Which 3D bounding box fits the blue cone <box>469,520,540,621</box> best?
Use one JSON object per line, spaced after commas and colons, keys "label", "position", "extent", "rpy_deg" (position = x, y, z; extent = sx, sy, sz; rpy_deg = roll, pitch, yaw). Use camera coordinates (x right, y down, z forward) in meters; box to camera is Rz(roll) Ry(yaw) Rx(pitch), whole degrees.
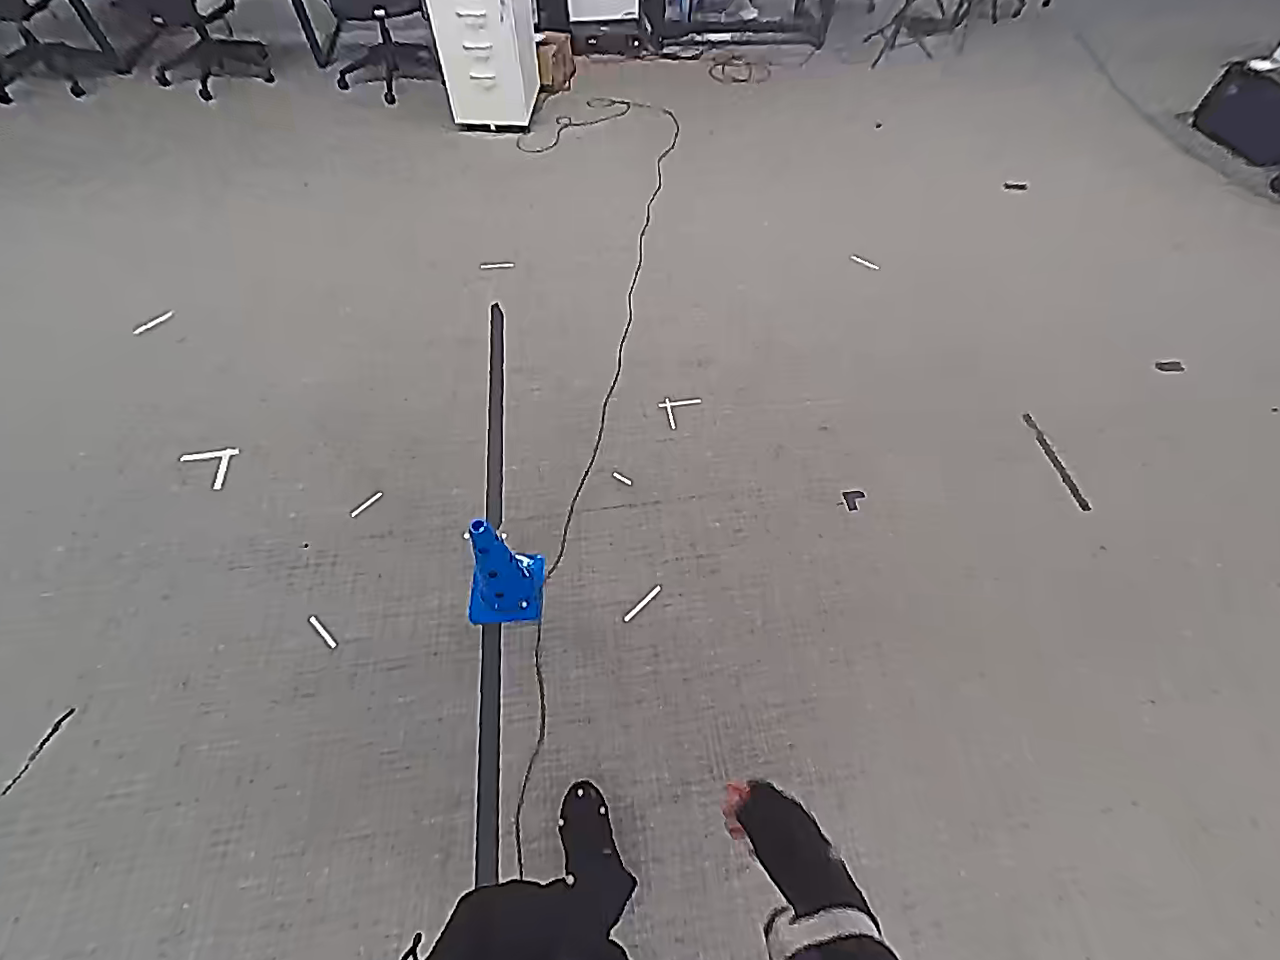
{"label": "blue cone", "position": [-0.367, 0.200, 1.360], "extent": [0.193, 0.380, 0.192], "rpy_deg": [-3, 56, -4]}
